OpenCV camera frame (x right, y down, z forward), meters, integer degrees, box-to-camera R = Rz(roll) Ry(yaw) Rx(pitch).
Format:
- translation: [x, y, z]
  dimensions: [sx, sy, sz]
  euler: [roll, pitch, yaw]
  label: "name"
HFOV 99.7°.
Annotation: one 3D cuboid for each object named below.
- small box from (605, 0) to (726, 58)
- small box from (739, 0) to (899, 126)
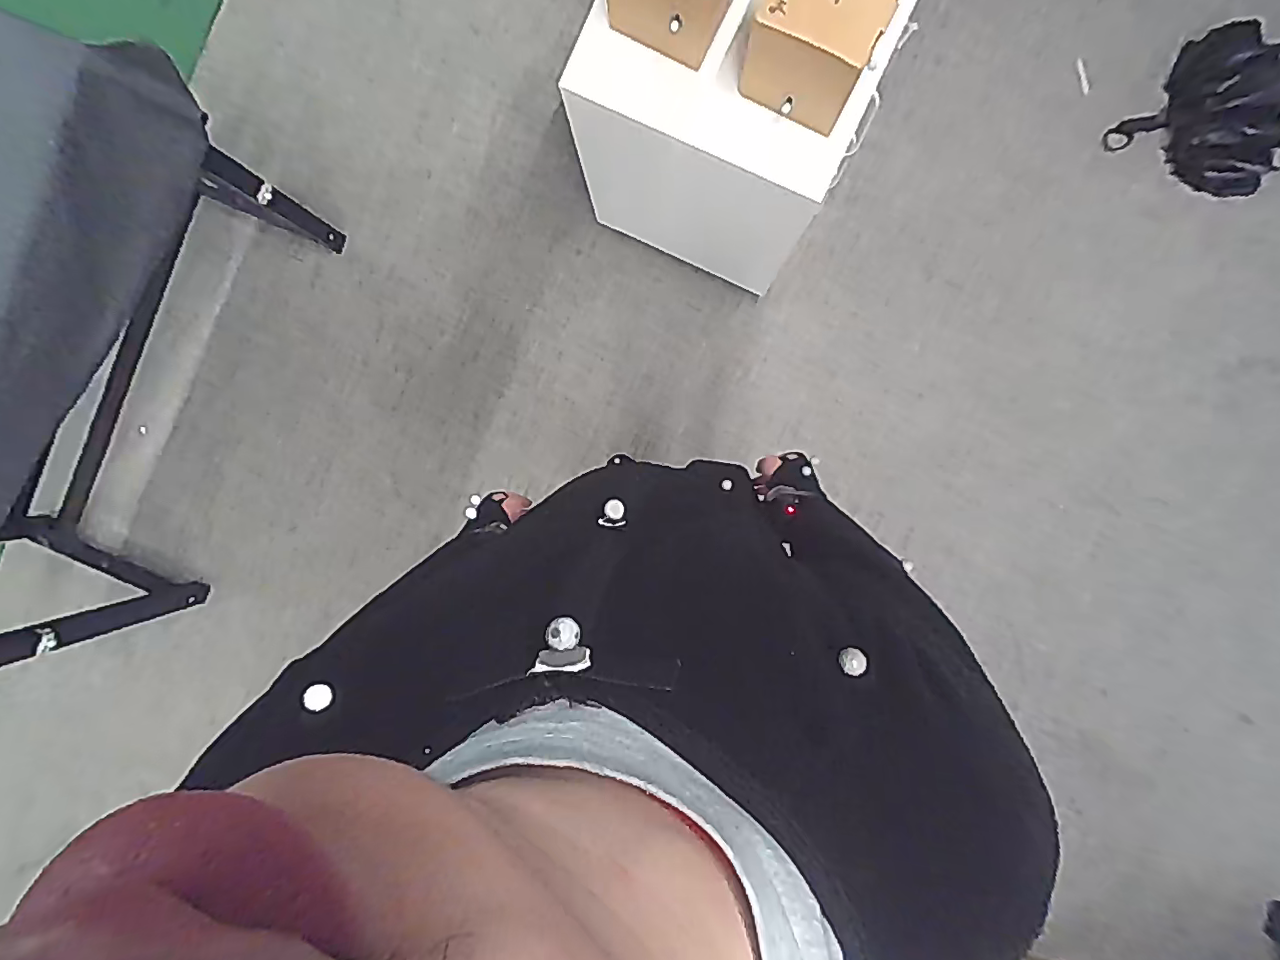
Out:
- translation: [0.054, -0.813, 0.840]
  dimensions: [0.179, 0.176, 0.168]
  euler: [26, 92, 0]
  label: "small box"
- translation: [0.275, -0.696, 0.838]
  dimensions: [0.179, 0.176, 0.168]
  euler: [27, 93, 0]
  label: "small box"
